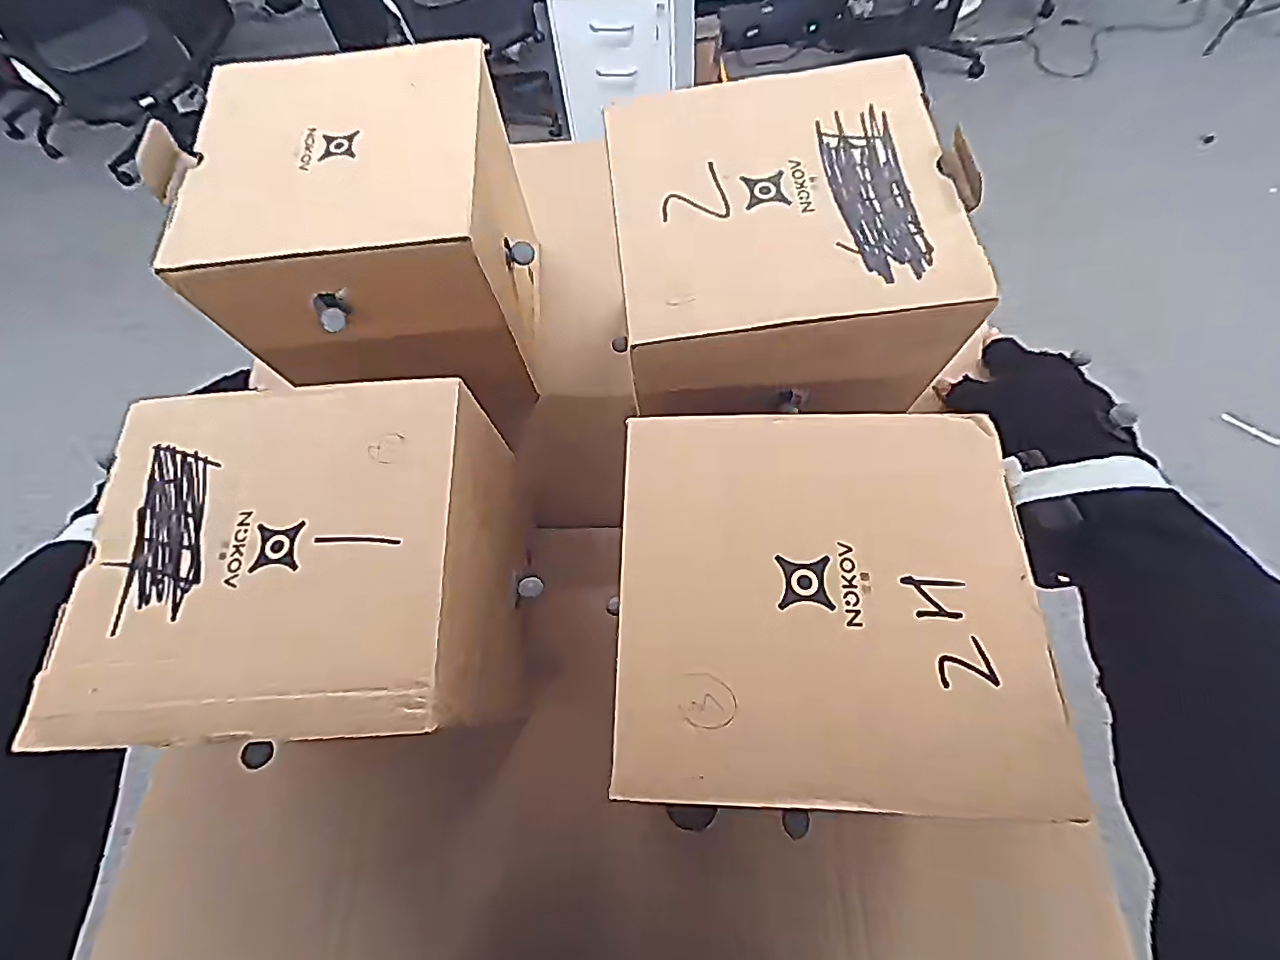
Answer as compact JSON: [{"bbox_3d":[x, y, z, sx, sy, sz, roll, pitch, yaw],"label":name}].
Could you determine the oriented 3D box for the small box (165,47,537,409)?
[{"bbox_3d":[-0.178,-0.168,0.399,0.179,0.176,0.168,-5,68,3],"label":"small box"}]
